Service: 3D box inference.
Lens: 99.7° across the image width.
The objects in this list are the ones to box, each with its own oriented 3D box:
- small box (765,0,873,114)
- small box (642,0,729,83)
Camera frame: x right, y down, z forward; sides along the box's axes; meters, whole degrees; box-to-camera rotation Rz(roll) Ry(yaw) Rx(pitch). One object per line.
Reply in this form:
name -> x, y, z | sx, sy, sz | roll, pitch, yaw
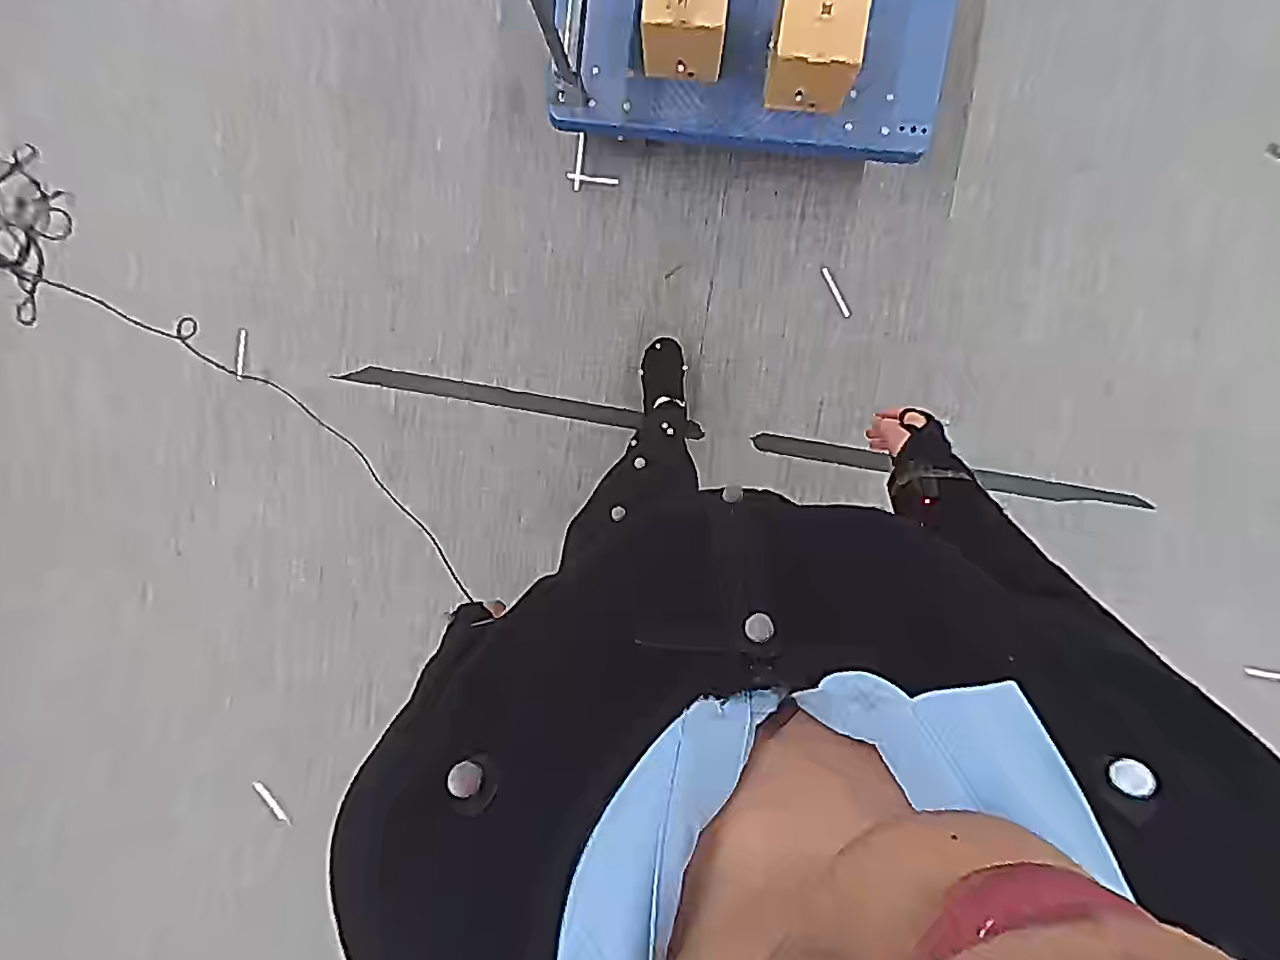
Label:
small box -> 0.361, -0.898, 1.109 | 0.168, 0.176, 0.179 | 7, 96, 3
small box -> 0.097, -0.972, 1.116 | 0.168, 0.176, 0.179 | 7, 96, 3
